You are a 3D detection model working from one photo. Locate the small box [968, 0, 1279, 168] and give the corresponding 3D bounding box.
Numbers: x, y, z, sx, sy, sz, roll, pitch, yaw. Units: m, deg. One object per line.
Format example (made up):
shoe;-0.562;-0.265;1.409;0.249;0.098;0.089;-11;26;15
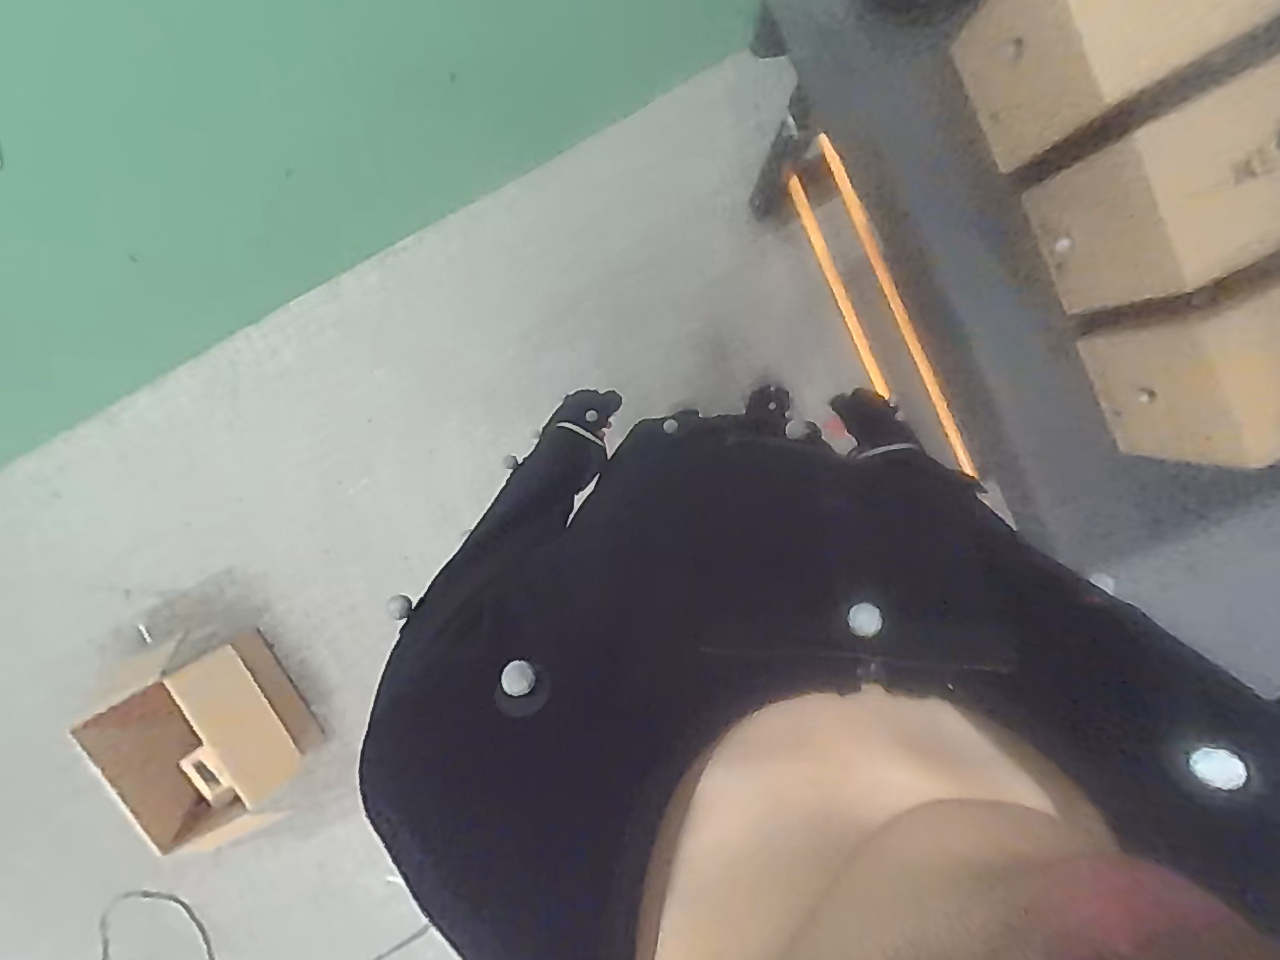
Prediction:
small box;0.482;-0.471;0.566;0.179;0.176;0.168;-27;97;6
